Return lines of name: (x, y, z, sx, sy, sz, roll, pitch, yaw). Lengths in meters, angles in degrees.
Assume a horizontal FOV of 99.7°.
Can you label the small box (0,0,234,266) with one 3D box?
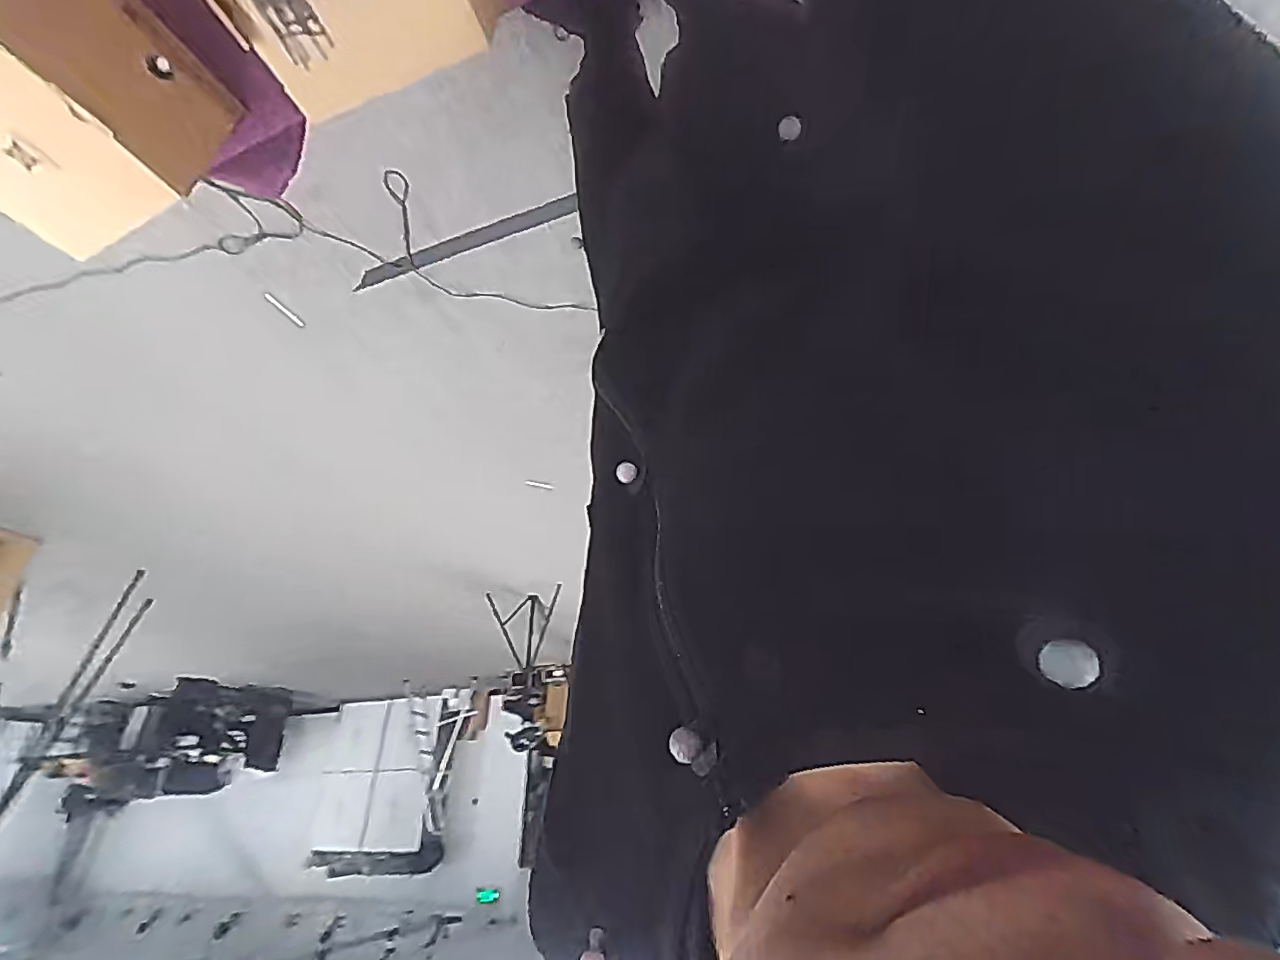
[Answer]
small box: (-0.546, -0.351, 0.522, 0.179, 0.176, 0.168, -15, 146, 19)
